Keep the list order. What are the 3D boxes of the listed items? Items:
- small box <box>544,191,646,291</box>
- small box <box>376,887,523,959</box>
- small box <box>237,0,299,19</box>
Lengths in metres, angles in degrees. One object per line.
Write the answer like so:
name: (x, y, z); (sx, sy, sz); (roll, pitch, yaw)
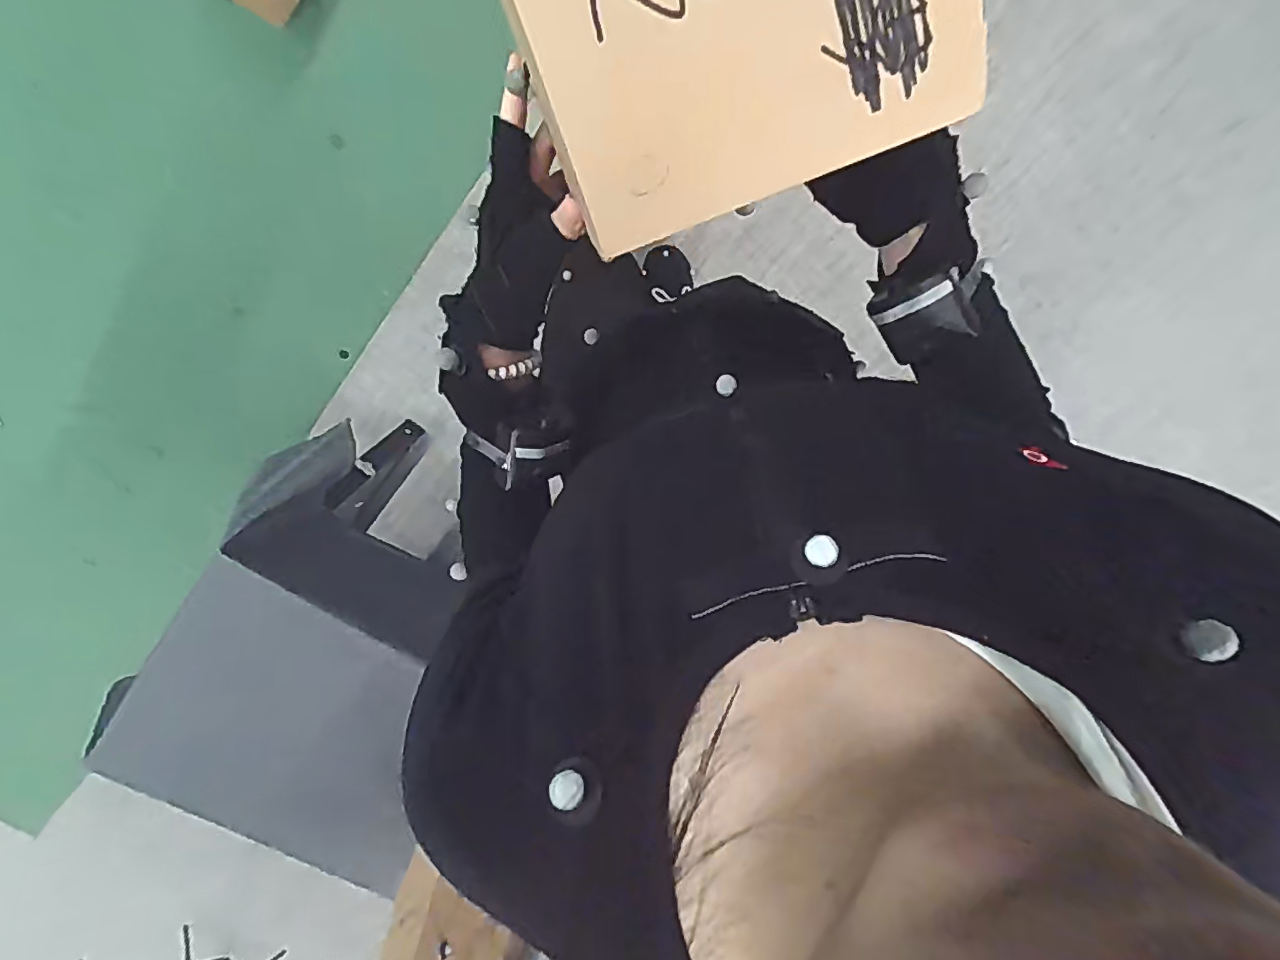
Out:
small box: (-0.107, -0.546, 1.227); (0.179, 0.176, 0.168); (22, 126, 12)
small box: (-0.304, 0.763, 0.820); (0.179, 0.176, 0.168); (37, 109, -15)
small box: (-0.748, -1.026, 1.019); (0.168, 0.176, 0.179); (-41, 107, 16)
